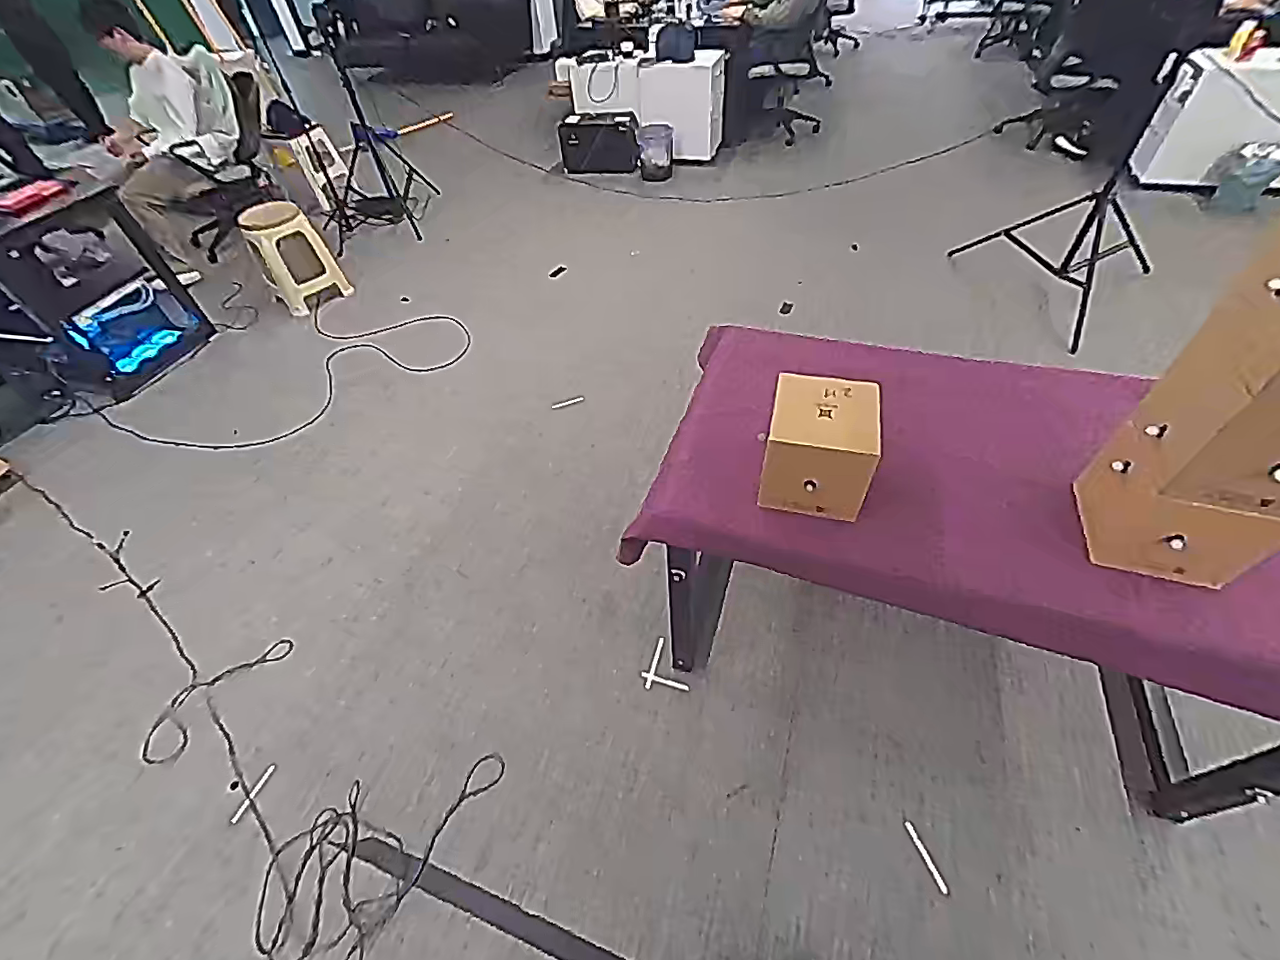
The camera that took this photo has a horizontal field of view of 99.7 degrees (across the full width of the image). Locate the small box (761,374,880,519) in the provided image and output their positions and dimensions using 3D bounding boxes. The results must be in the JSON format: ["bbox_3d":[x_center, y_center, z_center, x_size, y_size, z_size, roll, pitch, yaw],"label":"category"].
[{"bbox_3d":[0.306,-0.055,0.932,0.168,0.176,0.179,10,49,12],"label":"small box"}]

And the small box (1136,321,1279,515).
[{"bbox_3d":[0.795,-0.076,0.694,0.168,0.176,0.179,13,51,16],"label":"small box"}]

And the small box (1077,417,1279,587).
[{"bbox_3d":[0.804,0.035,0.813,0.168,0.176,0.179,12,50,16],"label":"small box"}]
